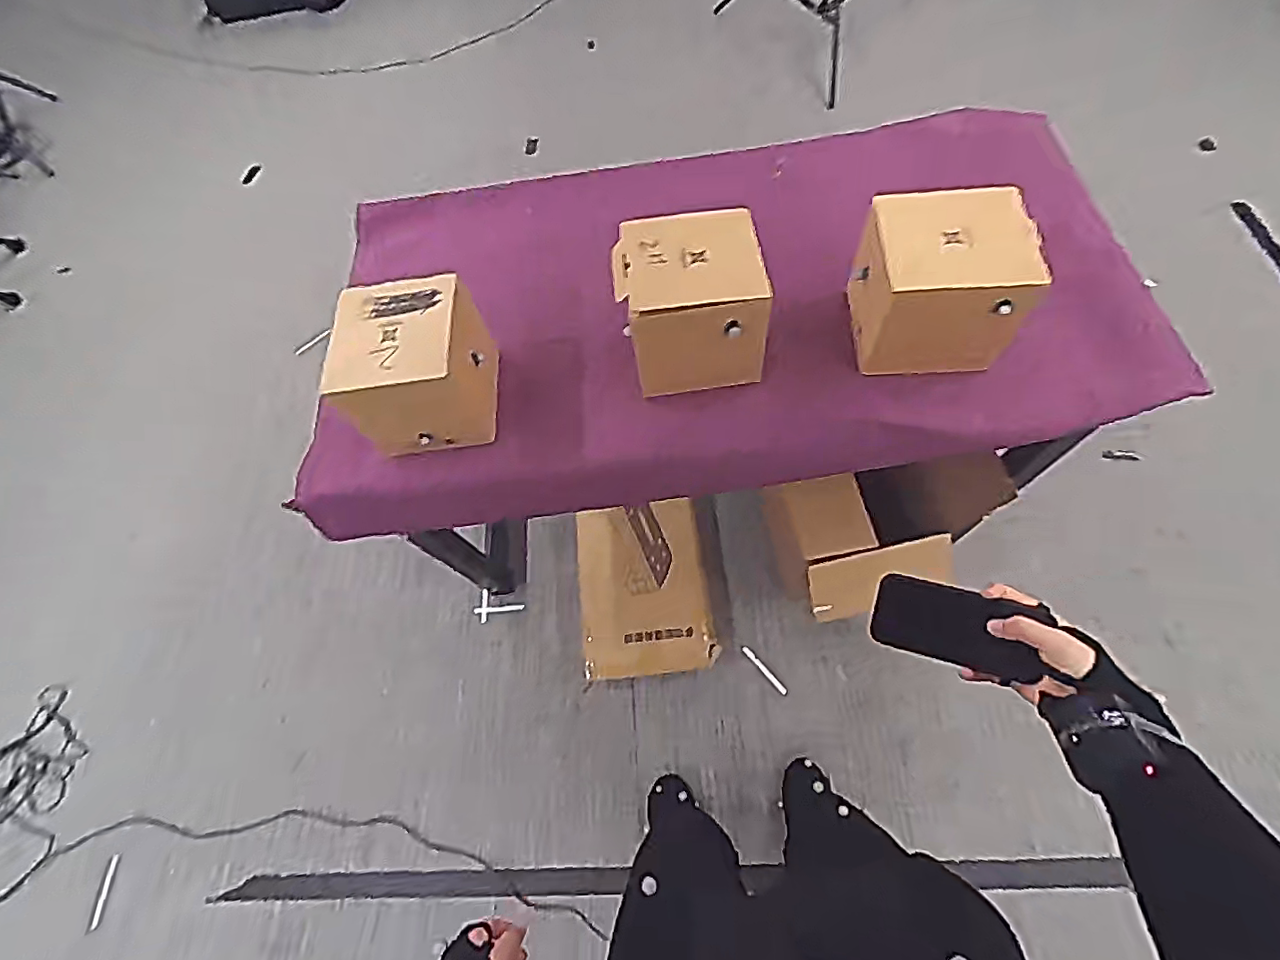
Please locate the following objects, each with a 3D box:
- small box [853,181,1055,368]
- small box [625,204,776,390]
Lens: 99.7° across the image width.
[{"bbox_3d":[0.395,-0.264,0.723,0.179,0.176,0.168,-1,65,7],"label":"small box"},{"bbox_3d":[0.079,-0.246,0.753,0.179,0.176,0.168,-7,62,4],"label":"small box"}]
